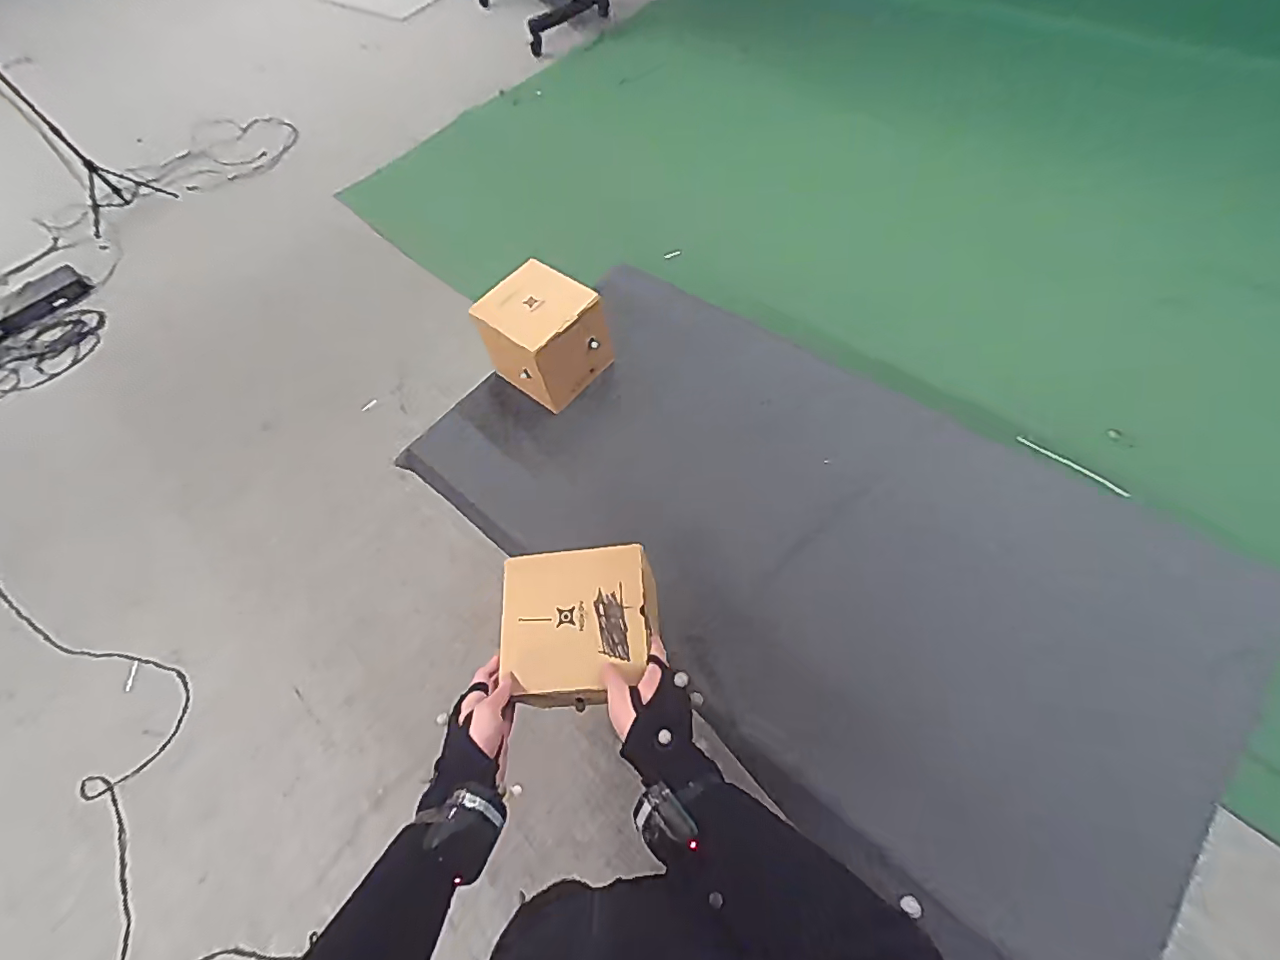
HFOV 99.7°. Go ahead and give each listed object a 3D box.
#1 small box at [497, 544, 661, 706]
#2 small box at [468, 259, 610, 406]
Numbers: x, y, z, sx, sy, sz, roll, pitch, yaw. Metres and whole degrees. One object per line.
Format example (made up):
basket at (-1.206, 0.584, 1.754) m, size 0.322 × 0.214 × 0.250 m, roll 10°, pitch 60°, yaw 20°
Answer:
small box at (-0.065, 0.190, 0.690) m, size 0.179 × 0.176 × 0.168 m, roll -5°, pitch 62°, yaw 4°
small box at (-0.173, -0.262, 0.991) m, size 0.179 × 0.176 × 0.168 m, roll 34°, pitch 67°, yaw 24°
